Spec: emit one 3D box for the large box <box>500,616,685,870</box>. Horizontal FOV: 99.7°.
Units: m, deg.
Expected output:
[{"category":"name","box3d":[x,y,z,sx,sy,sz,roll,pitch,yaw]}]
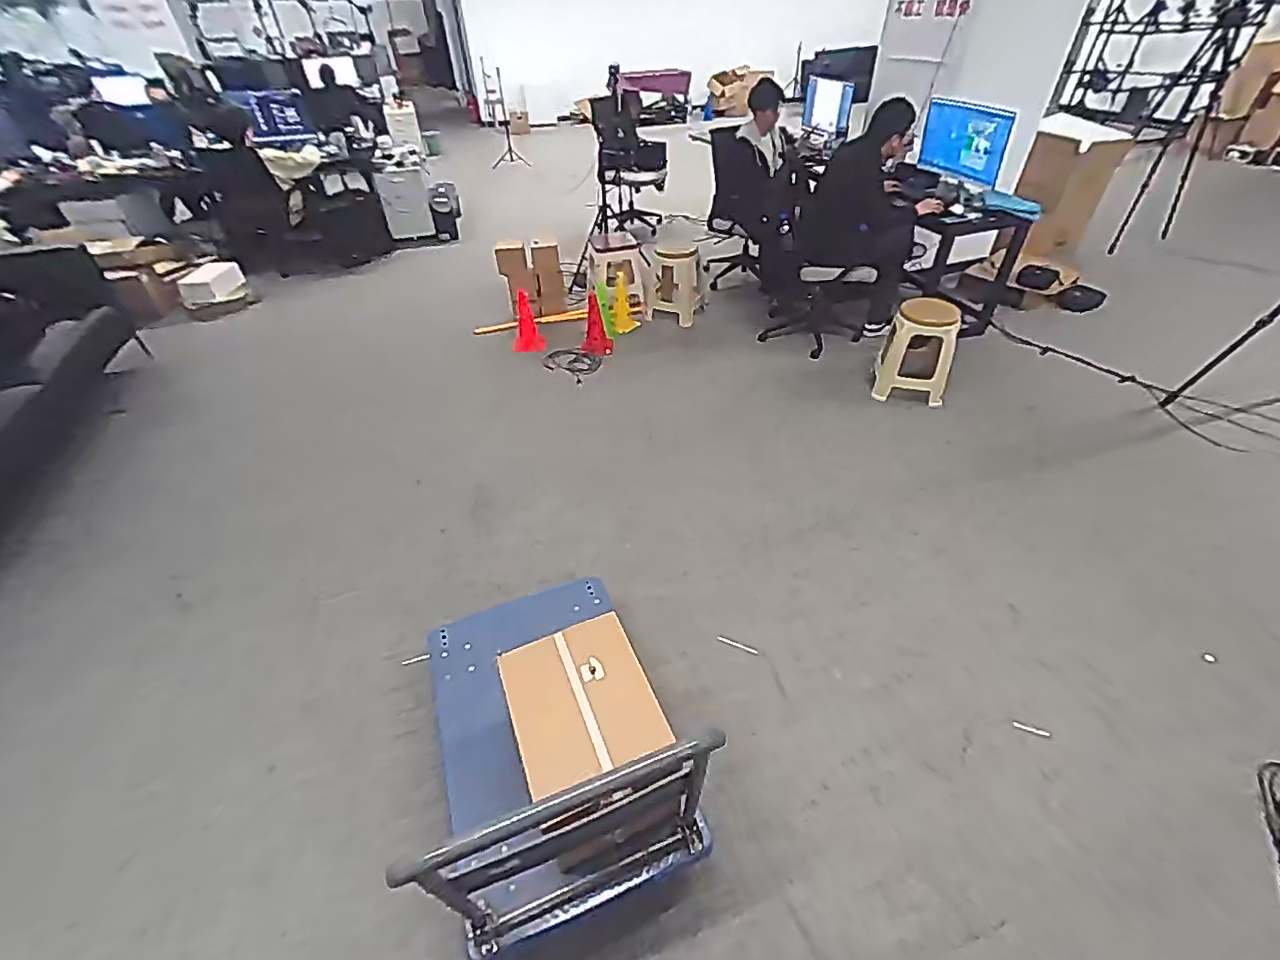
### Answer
[{"category":"large box","box3d":[-0.114,0.623,1.313,0.320,0.320,0.408,-17,43,-17]}]
